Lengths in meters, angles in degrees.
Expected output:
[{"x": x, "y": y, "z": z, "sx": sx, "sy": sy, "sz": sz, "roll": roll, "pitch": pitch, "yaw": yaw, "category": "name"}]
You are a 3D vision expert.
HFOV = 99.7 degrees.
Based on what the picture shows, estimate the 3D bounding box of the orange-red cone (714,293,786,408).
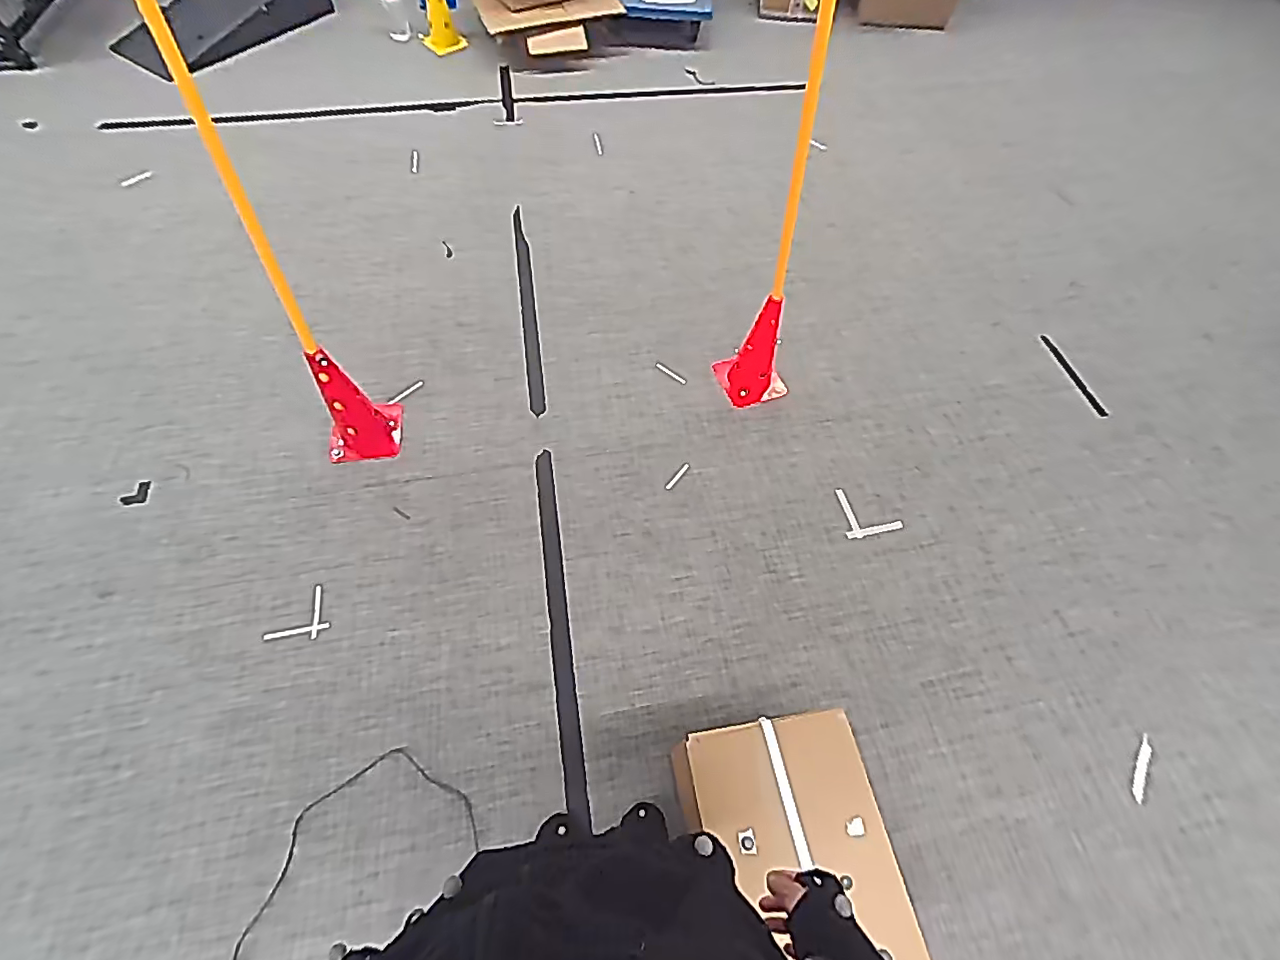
[{"x": 0.371, "y": -0.415, "z": 1.637, "sx": 0.199, "sy": 0.360, "sz": 0.198, "roll": -15, "pitch": 63, "yaw": -12, "category": "orange-red cone"}]
